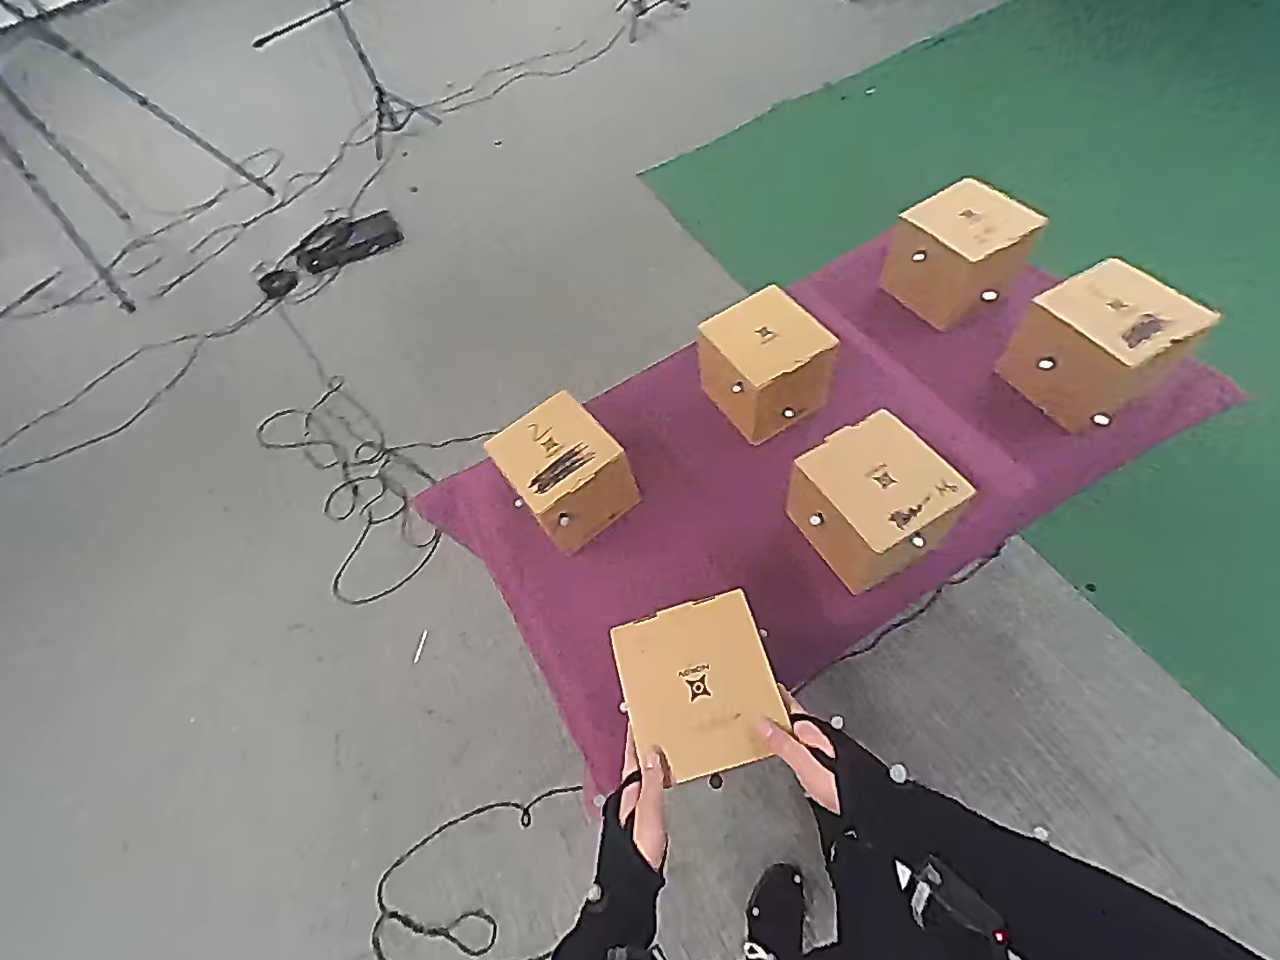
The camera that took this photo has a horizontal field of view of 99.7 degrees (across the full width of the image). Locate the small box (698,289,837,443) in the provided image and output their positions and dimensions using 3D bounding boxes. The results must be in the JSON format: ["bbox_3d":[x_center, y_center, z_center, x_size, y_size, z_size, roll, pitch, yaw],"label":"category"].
[{"bbox_3d":[0.218,-0.200,0.973,0.168,0.176,0.179,-30,61,-9],"label":"small box"}]

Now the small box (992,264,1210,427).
[{"bbox_3d":[0.735,-0.210,0.888,0.168,0.176,0.179,-27,58,-6],"label":"small box"}]

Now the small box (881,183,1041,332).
[{"bbox_3d":[0.595,-0.421,1.034,0.168,0.176,0.179,-30,61,-7],"label":"small box"}]

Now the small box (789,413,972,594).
[{"bbox_3d":[0.341,0.039,0.811,0.168,0.176,0.179,-29,58,-7],"label":"small box"}]
